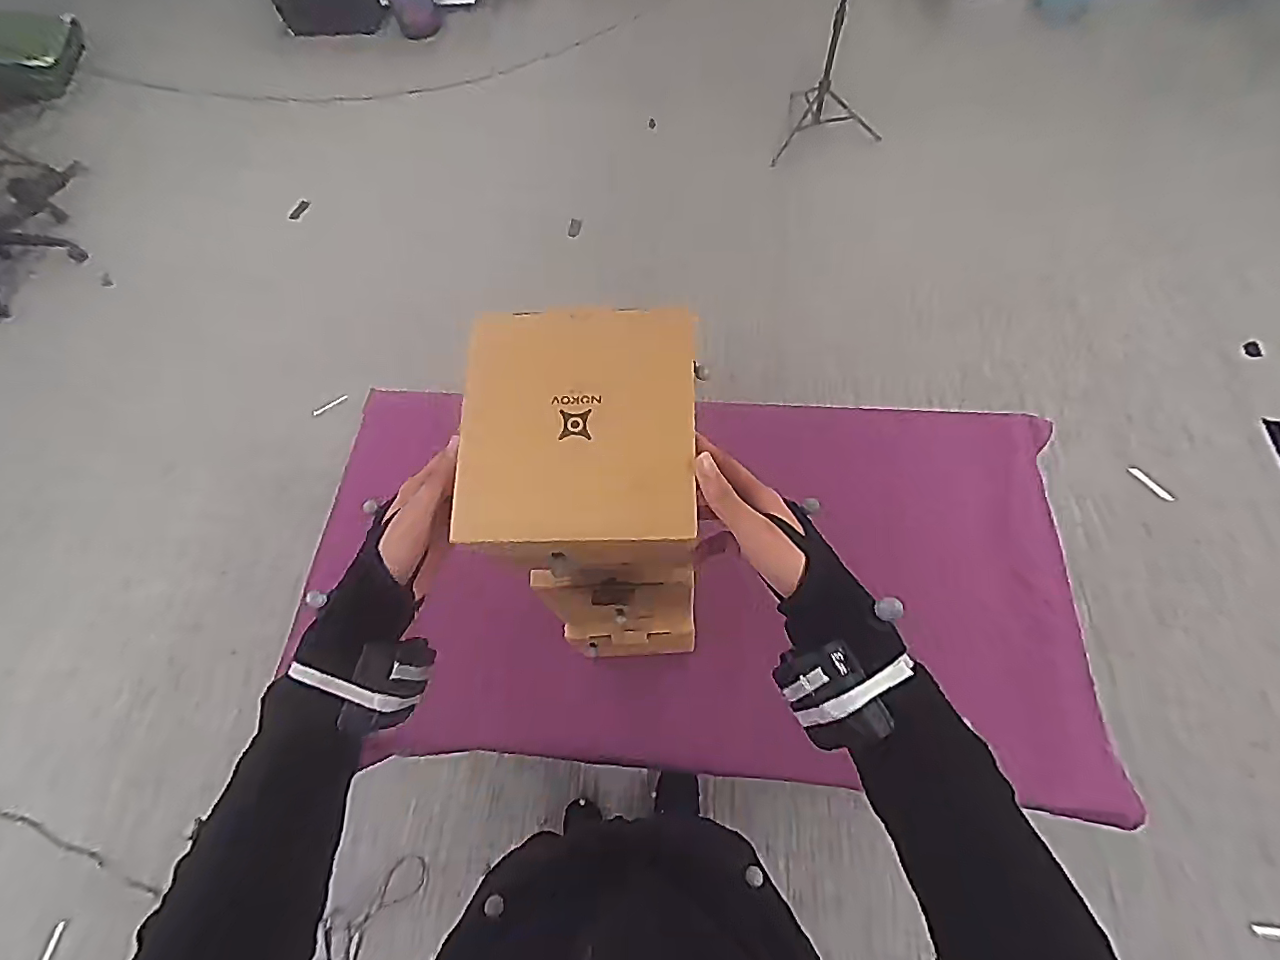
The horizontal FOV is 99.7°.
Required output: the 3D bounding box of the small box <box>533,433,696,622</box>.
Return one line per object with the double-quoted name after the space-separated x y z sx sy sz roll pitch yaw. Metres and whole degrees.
-0.021 0.063 0.645 0.168 0.176 0.179 -3 64 4 "small box"
